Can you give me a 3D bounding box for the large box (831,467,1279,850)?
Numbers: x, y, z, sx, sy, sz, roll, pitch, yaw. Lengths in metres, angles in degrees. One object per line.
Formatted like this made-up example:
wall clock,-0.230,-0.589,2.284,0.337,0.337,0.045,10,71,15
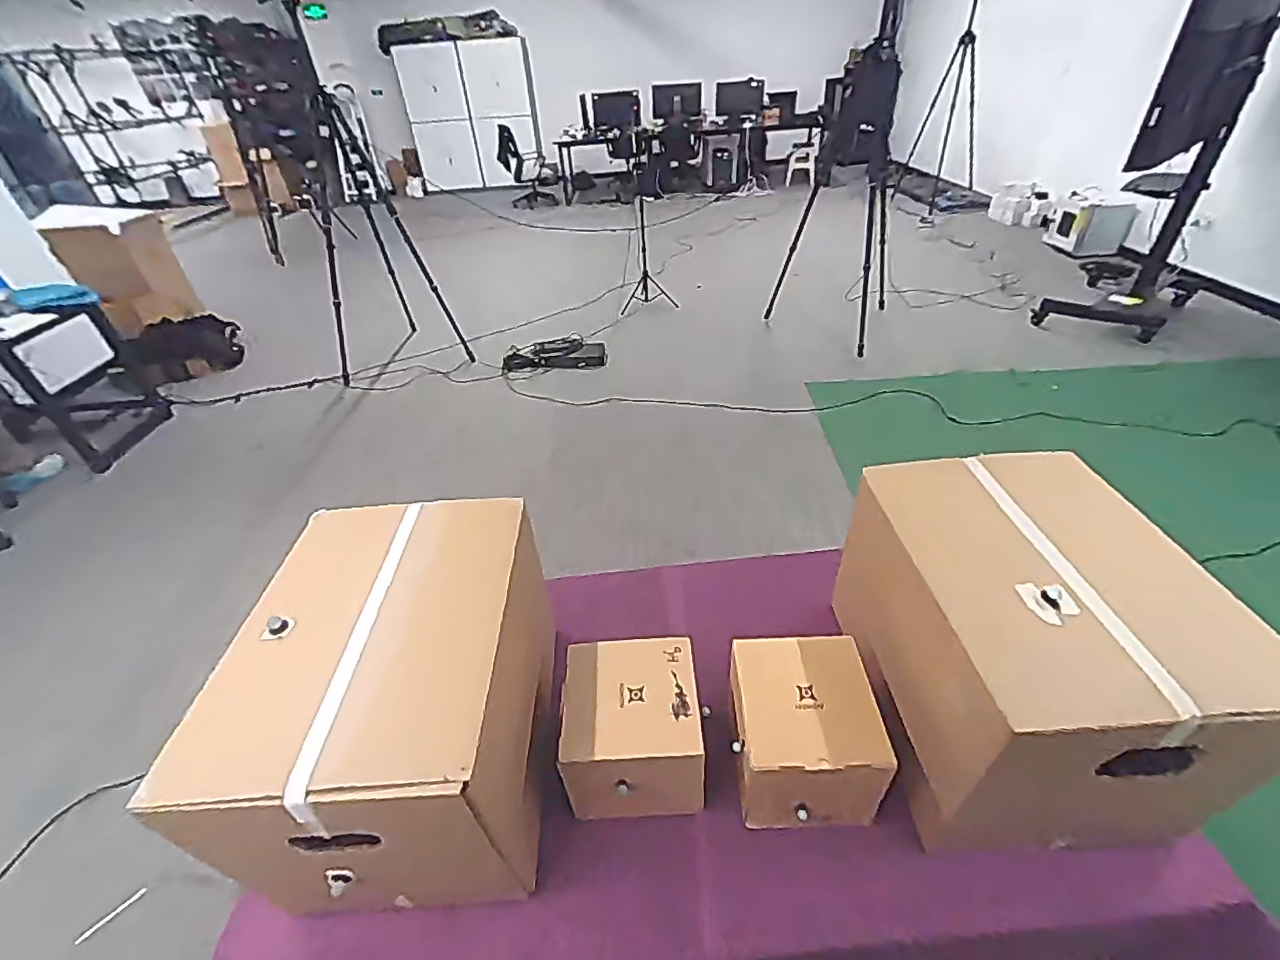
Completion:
large box,0.499,0.224,0.744,0.320,0.320,0.408,-3,39,1
